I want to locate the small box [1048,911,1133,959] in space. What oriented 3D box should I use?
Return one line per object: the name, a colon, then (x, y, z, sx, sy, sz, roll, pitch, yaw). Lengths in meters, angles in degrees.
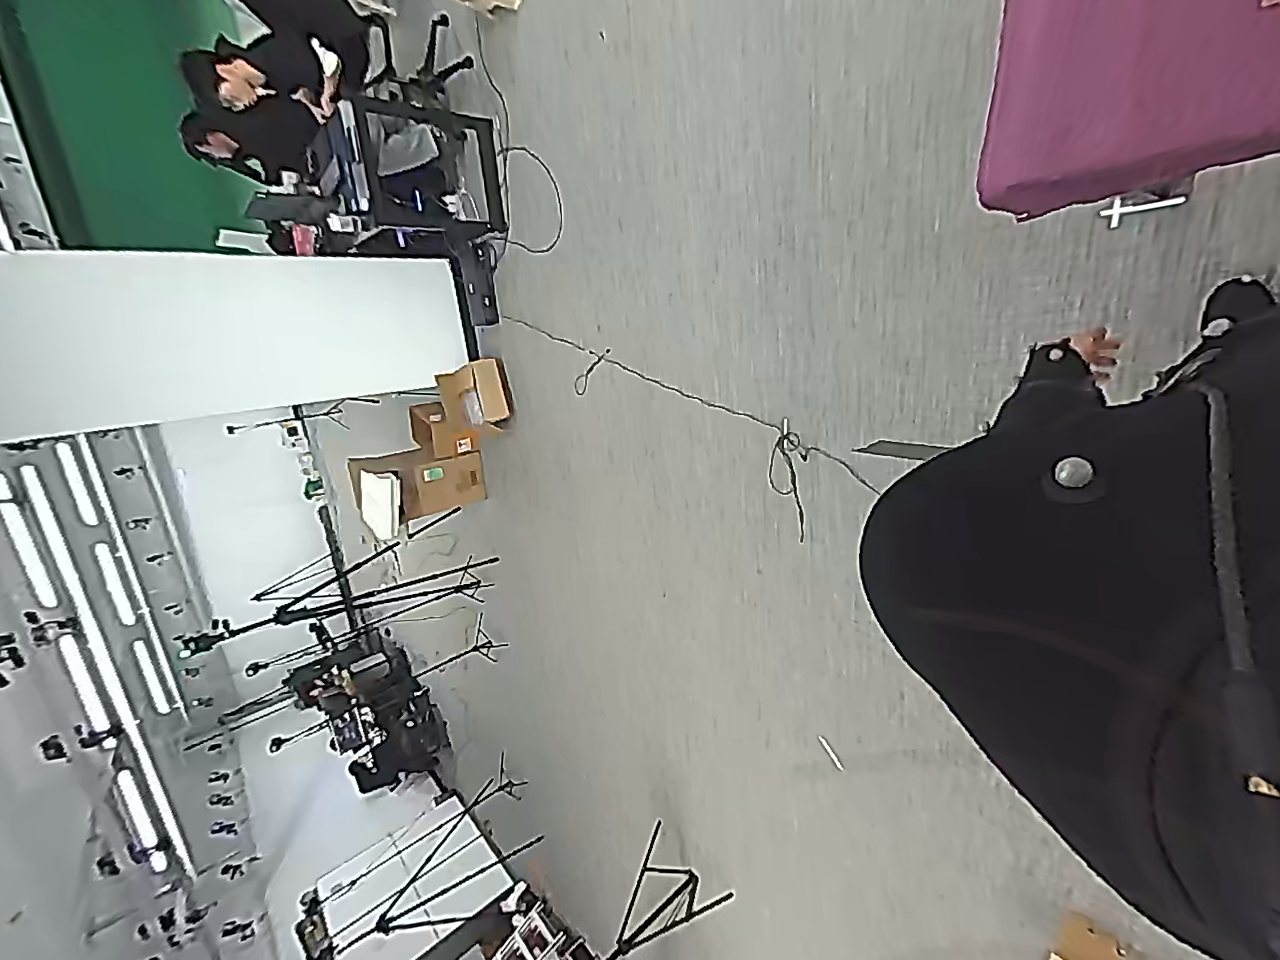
small box: (1.295, 1.419, 1.566, 0.168, 0.176, 0.179, 18, 119, 47)
